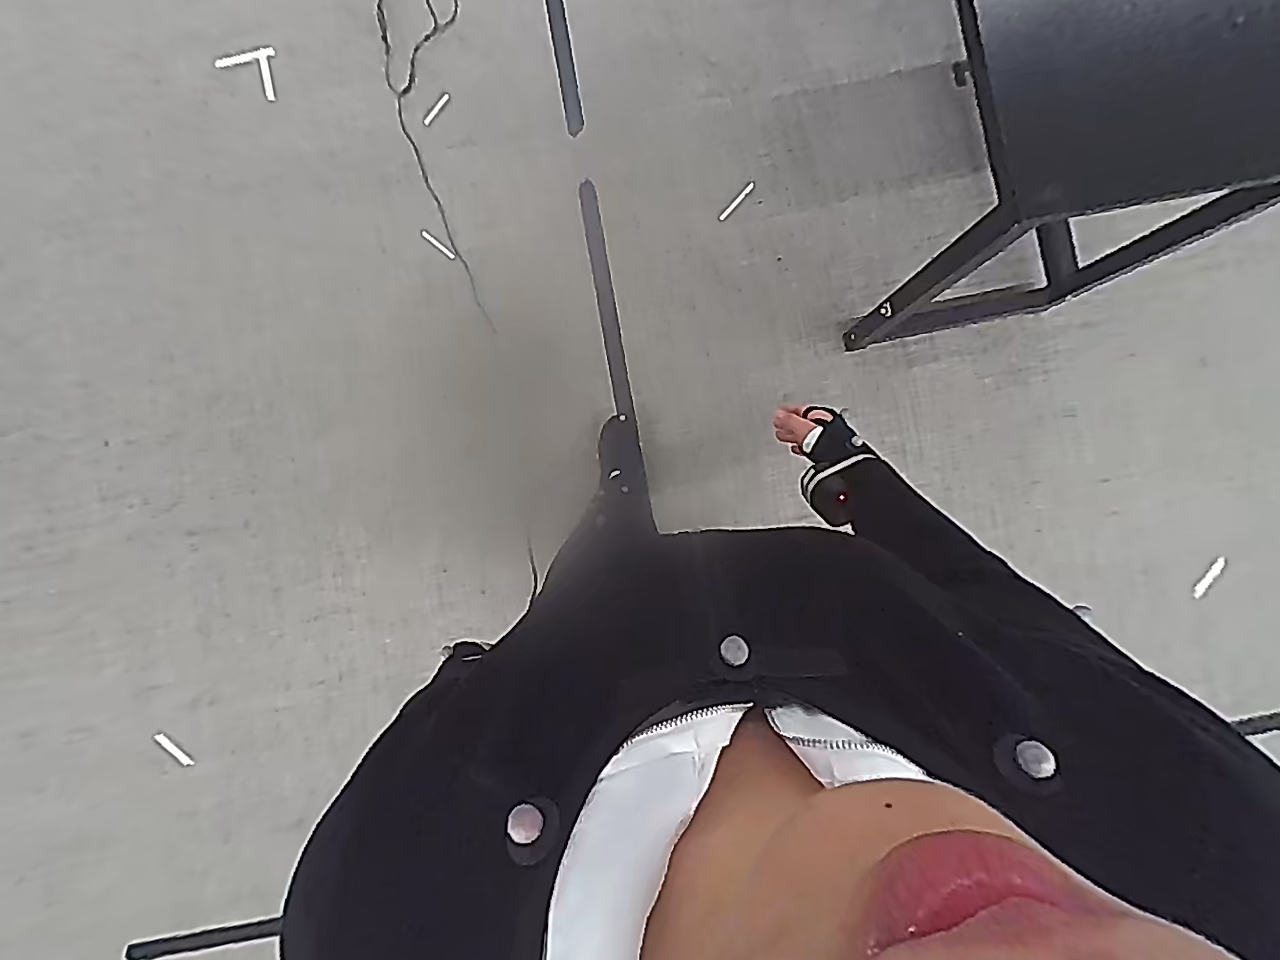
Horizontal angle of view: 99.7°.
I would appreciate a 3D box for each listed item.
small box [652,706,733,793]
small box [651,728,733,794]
[{"bbox_3d":[0.130,0.707,1.392,0.179,0.176,0.168,-11,88,0],"label":"small box"},{"bbox_3d":[0.123,0.698,1.229,0.168,0.176,0.179,-13,88,1],"label":"small box"}]
